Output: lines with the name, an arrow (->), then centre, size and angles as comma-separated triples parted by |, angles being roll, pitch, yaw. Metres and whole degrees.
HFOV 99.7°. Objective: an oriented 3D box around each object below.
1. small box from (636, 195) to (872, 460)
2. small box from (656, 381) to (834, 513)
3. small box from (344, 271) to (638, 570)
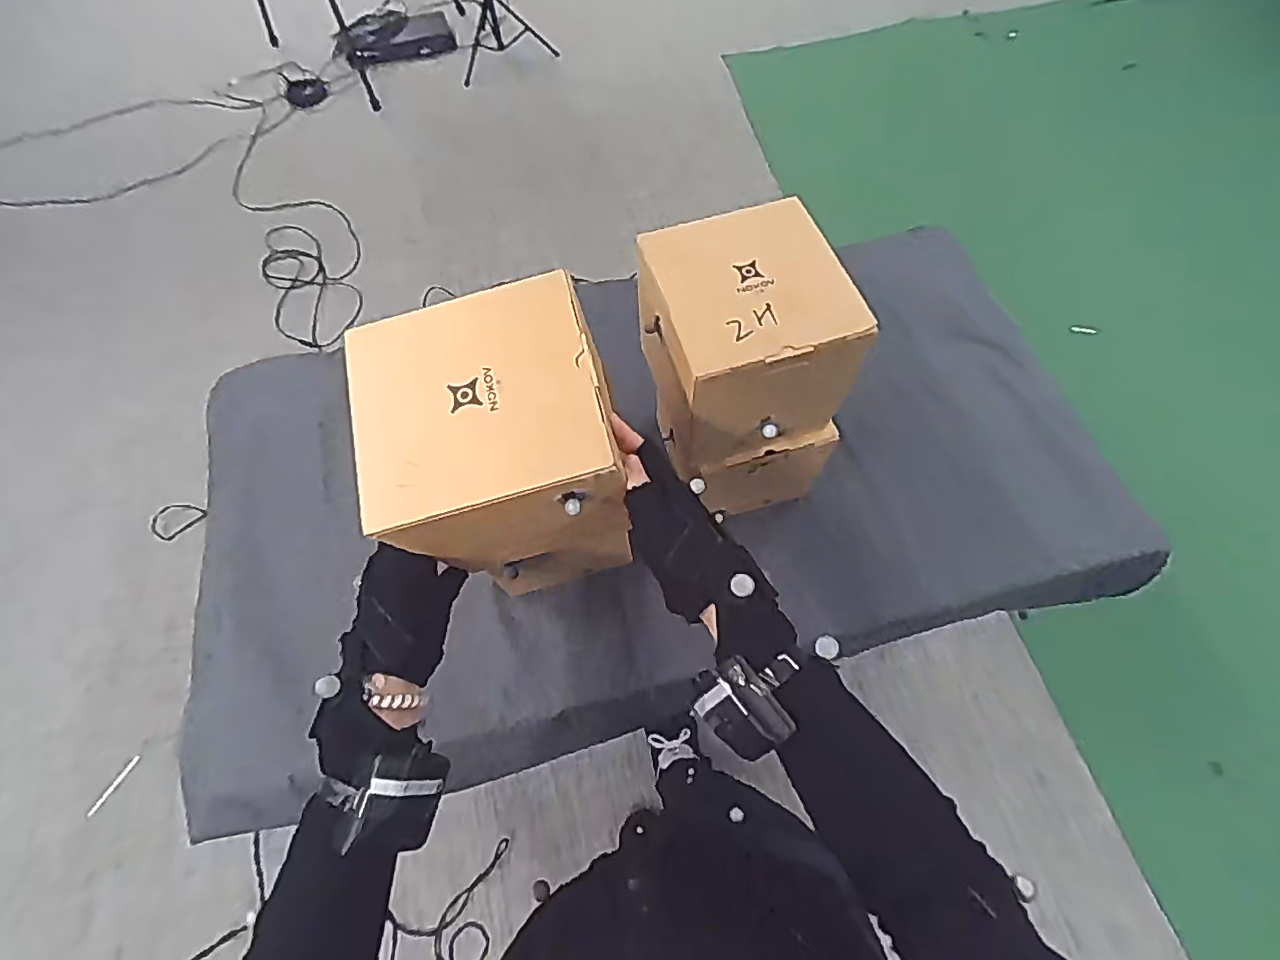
small box -> 0.099, -0.147, 0.556 | 0.168, 0.176, 0.179 | -17, 67, -4
small box -> 0.122, -0.070, 0.699 | 0.168, 0.176, 0.179 | -15, 65, -4
small box -> -0.111, -0.033, 0.451 | 0.179, 0.176, 0.168 | -16, 71, 0
